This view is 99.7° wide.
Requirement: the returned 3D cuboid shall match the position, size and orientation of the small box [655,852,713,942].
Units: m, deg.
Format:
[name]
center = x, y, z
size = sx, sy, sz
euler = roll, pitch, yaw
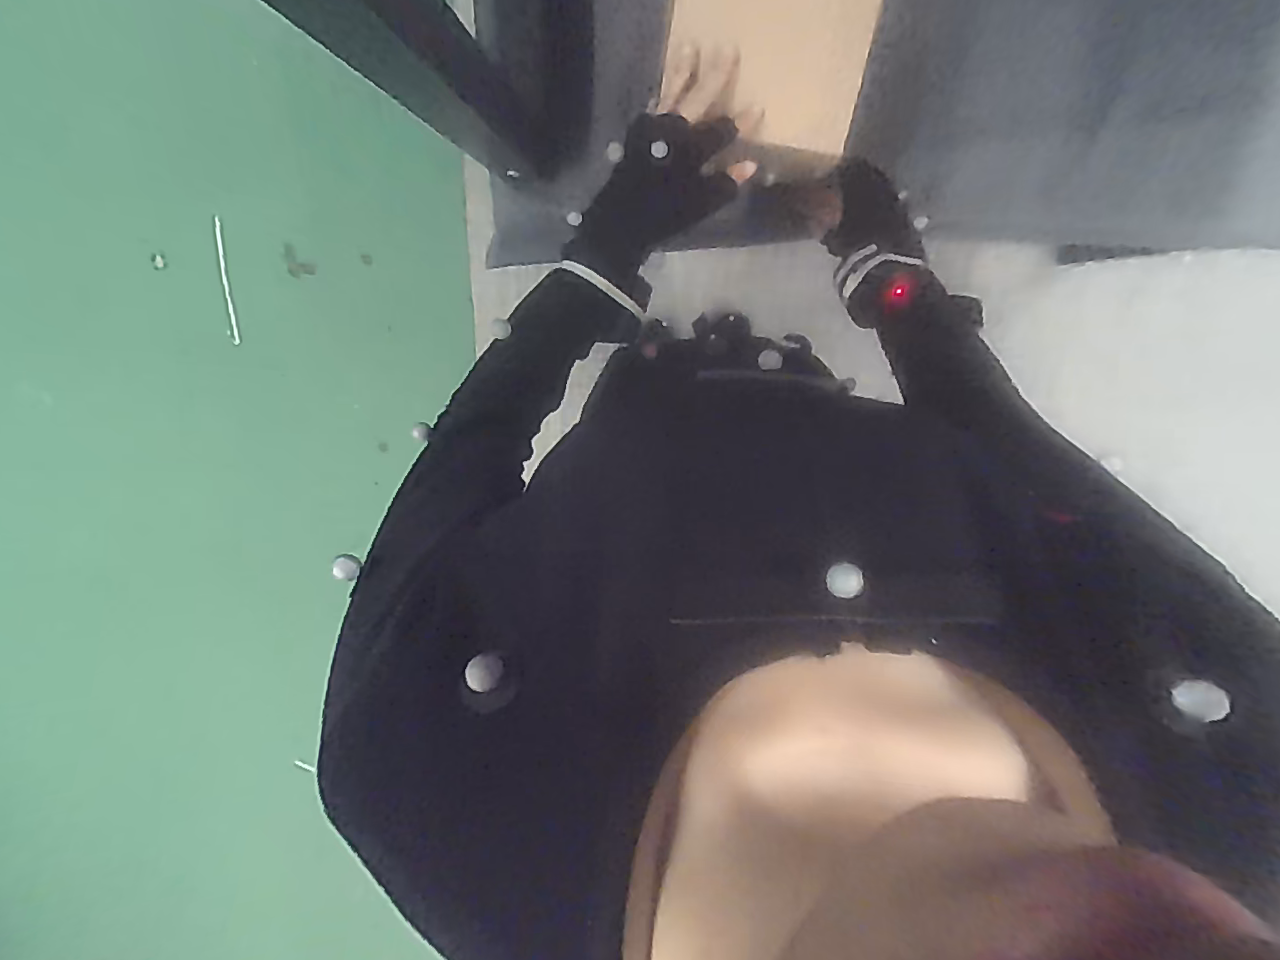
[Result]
[small box]
center = 0.148, 1.419, 1.850
size = 0.168, 0.176, 0.179
euler = 10, 108, 1
